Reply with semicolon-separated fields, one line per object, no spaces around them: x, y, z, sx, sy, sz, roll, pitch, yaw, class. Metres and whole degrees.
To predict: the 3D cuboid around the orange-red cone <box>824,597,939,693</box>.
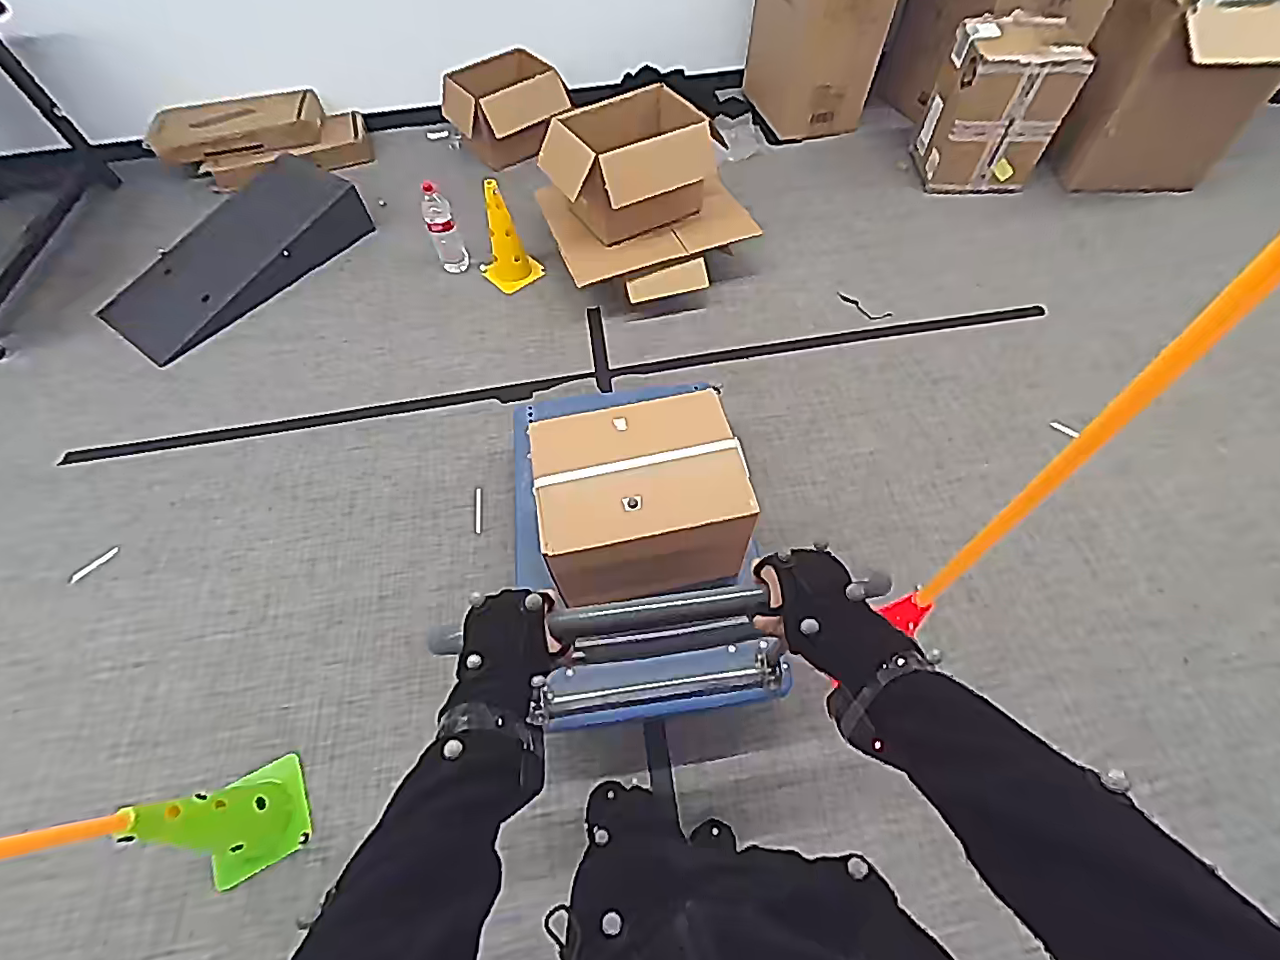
0.557;0.328;1.176;0.199;0.360;0.198;-2;59;0;orange-red cone
